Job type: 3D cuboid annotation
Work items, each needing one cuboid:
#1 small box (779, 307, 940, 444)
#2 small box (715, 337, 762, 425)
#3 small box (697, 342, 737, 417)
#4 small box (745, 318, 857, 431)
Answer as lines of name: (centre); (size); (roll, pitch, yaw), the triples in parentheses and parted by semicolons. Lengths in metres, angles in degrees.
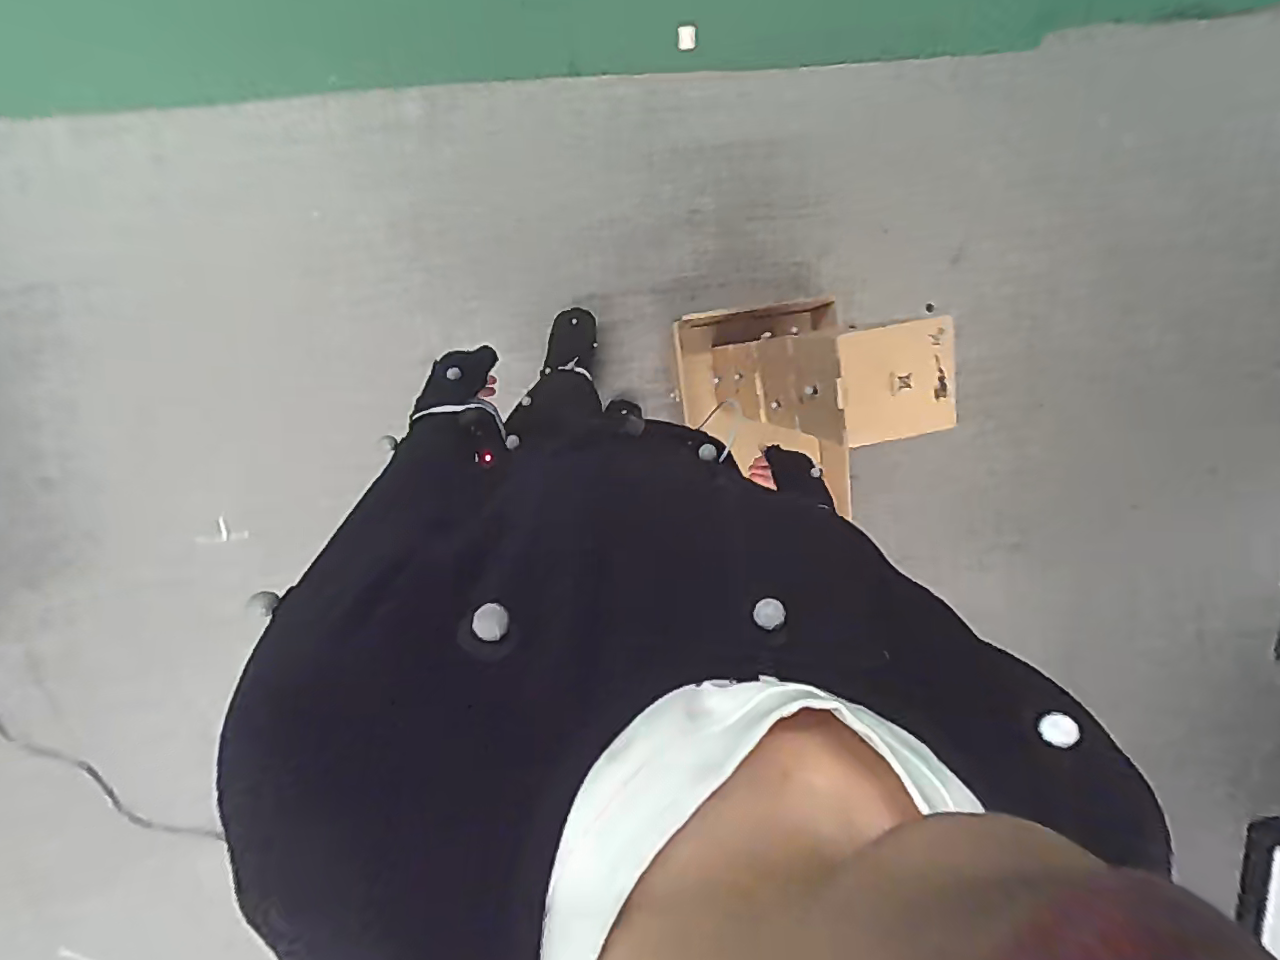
small box: (0.333, -0.164, 0.854); (0.179, 0.176, 0.168); (-15, 104, -4)
small box: (0.278, -0.225, 1.170); (0.179, 0.176, 0.168); (-13, 103, -5)
small box: (0.254, -0.255, 1.328); (0.179, 0.176, 0.168); (-12, 102, -6)
small box: (0.307, -0.197, 1.012); (0.179, 0.176, 0.168); (-15, 104, -5)
